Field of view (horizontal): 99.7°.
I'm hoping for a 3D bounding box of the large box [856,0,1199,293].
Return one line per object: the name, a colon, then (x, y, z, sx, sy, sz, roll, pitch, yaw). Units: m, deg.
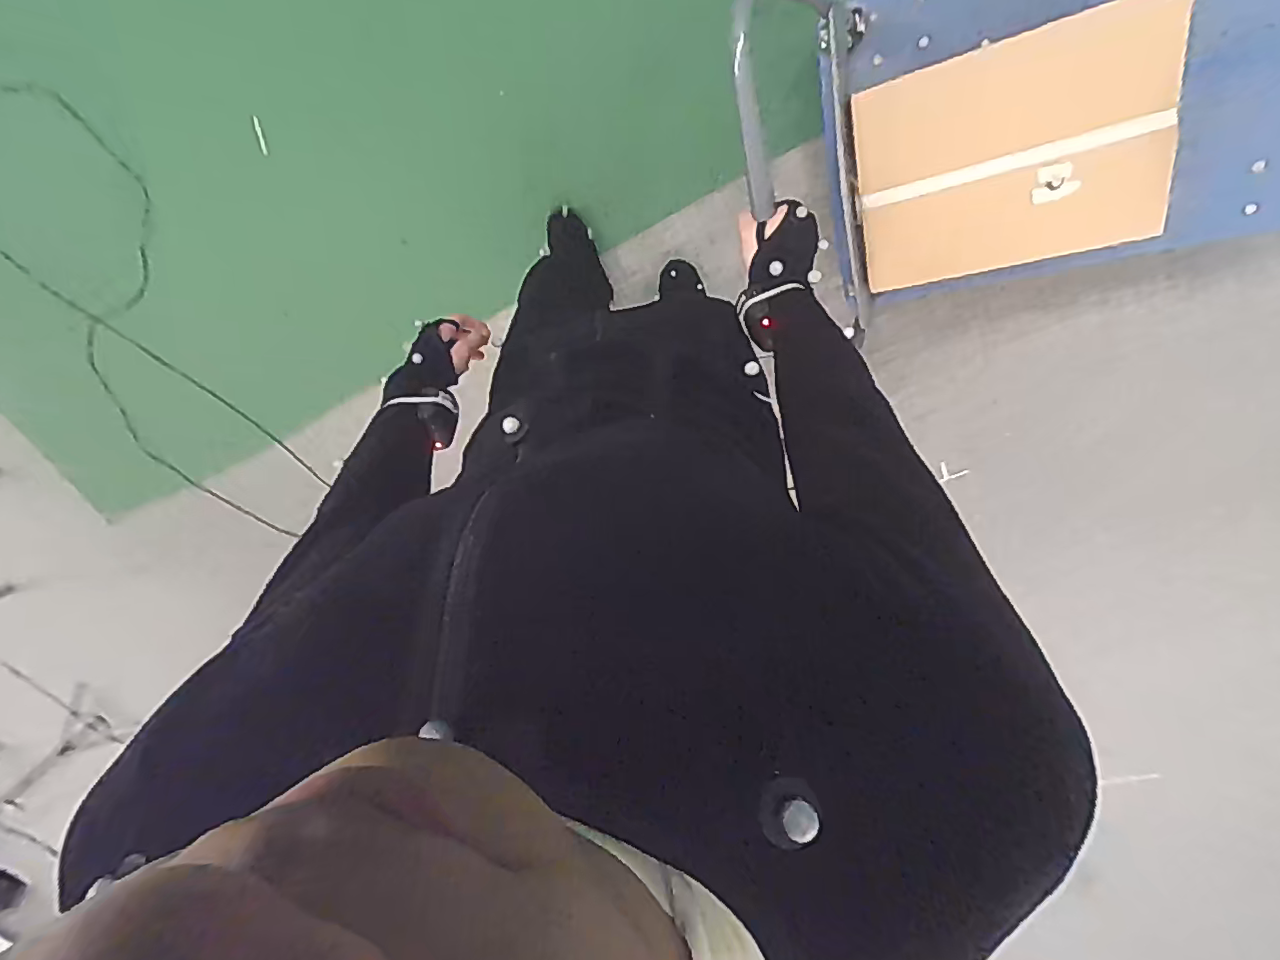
large box: (0.608, -0.553, 0.935, 0.408, 0.320, 0.320, -4, 119, 26)
